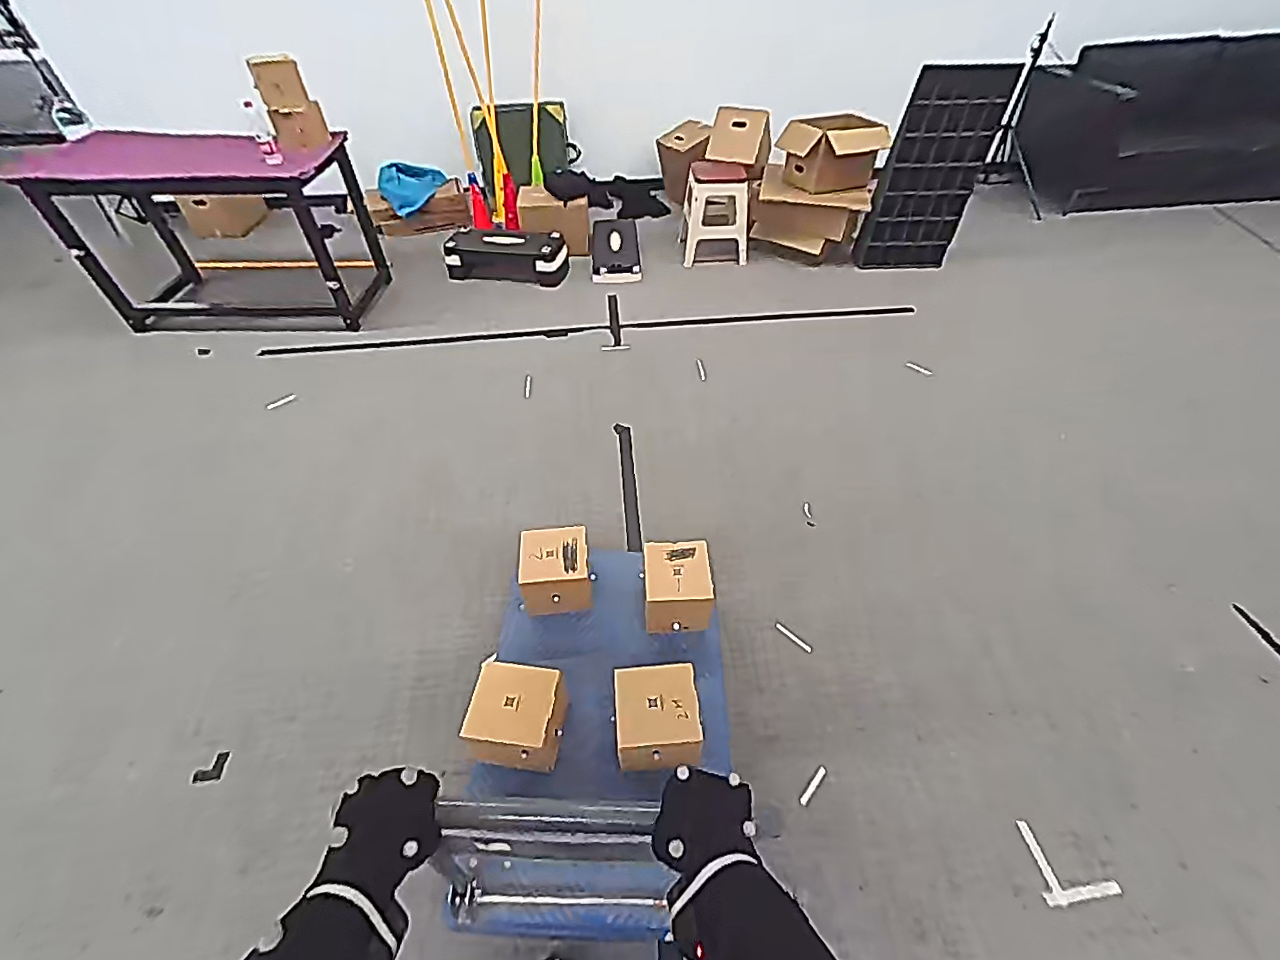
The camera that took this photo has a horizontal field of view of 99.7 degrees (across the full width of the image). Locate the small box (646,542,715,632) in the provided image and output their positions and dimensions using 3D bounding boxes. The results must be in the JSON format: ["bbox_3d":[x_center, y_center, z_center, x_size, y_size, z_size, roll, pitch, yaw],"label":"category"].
[{"bbox_3d":[0.100,0.283,1.429,0.168,0.176,0.179,-1,48,-1],"label":"small box"}]

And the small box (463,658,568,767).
[{"bbox_3d":[-0.267,0.523,1.210,0.179,0.176,0.168,6,47,5],"label":"small box"}]

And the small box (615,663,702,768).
[{"bbox_3d":[0.038,0.527,1.202,0.179,0.176,0.168,-3,47,-2],"label":"small box"}]
